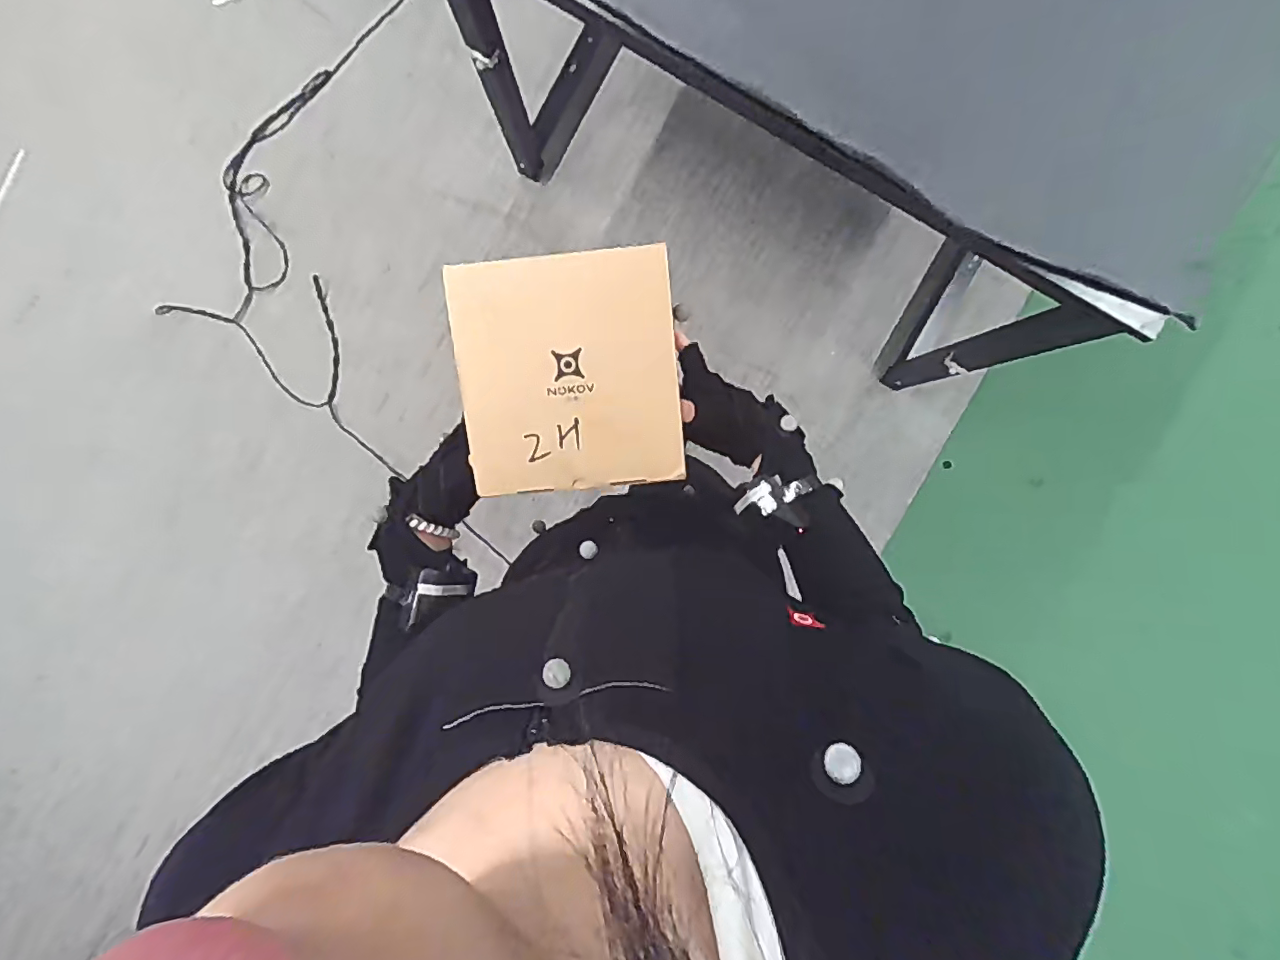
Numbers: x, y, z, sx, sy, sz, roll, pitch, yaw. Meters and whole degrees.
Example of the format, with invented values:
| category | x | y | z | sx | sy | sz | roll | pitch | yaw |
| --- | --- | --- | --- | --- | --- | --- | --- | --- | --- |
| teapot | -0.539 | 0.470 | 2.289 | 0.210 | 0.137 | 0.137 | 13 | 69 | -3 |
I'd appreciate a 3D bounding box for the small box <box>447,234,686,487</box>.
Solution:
| category | x | y | z | sx | sy | sz | roll | pitch | yaw |
| --- | --- | --- | --- | --- | --- | --- | --- | --- | --- |
| small box | -0.052 | -0.099 | 0.481 | 0.168 | 0.176 | 0.179 | -5 | 101 | 2 |
